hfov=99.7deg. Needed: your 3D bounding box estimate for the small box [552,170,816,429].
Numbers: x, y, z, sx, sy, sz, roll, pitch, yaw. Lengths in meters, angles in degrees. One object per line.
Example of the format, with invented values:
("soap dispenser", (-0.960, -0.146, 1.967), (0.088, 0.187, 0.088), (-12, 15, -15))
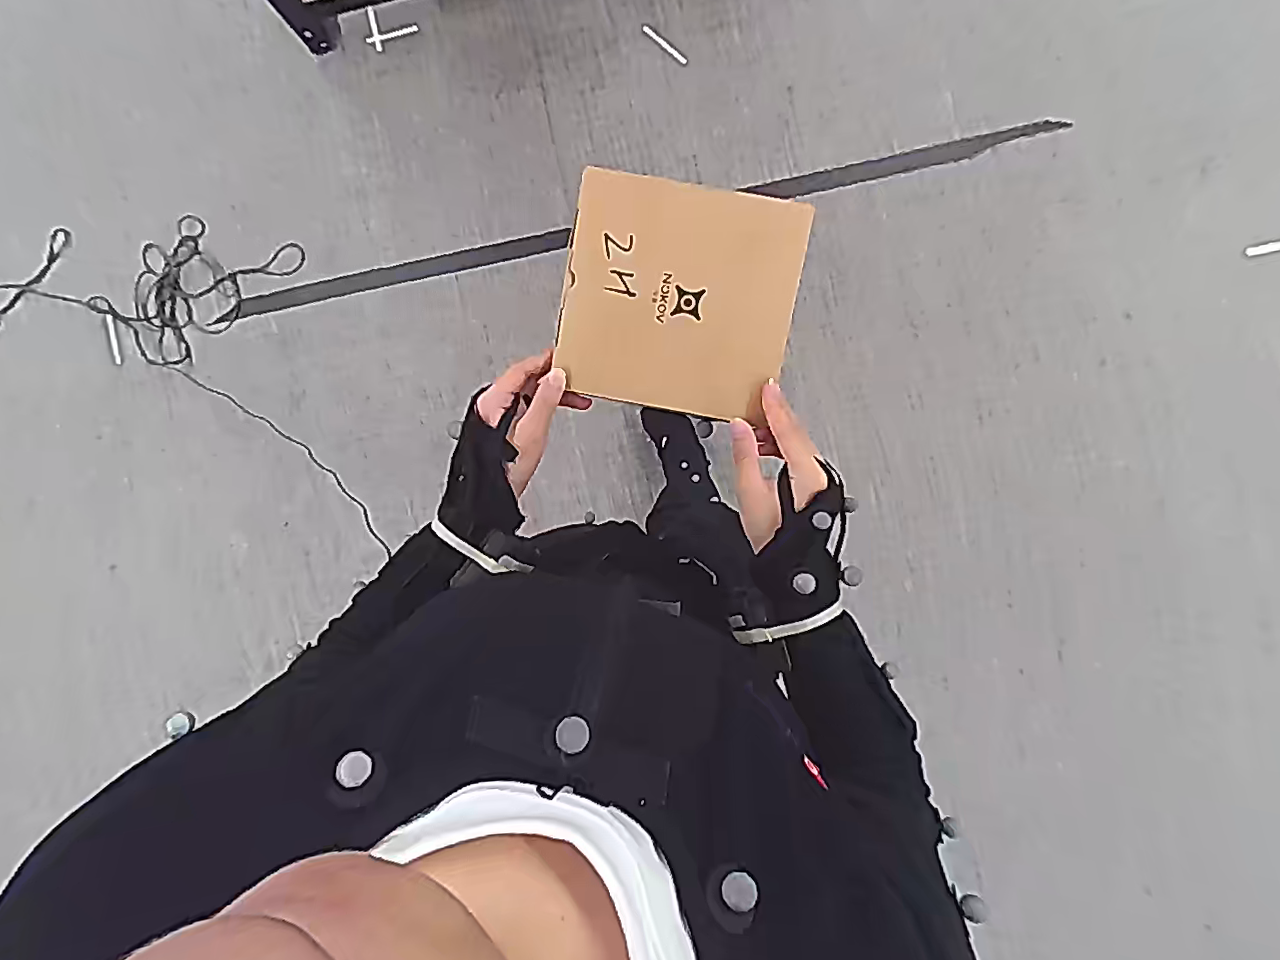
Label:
("small box", (0.035, -0.144, 0.486), (0.179, 0.176, 0.168), (10, 97, 2))
